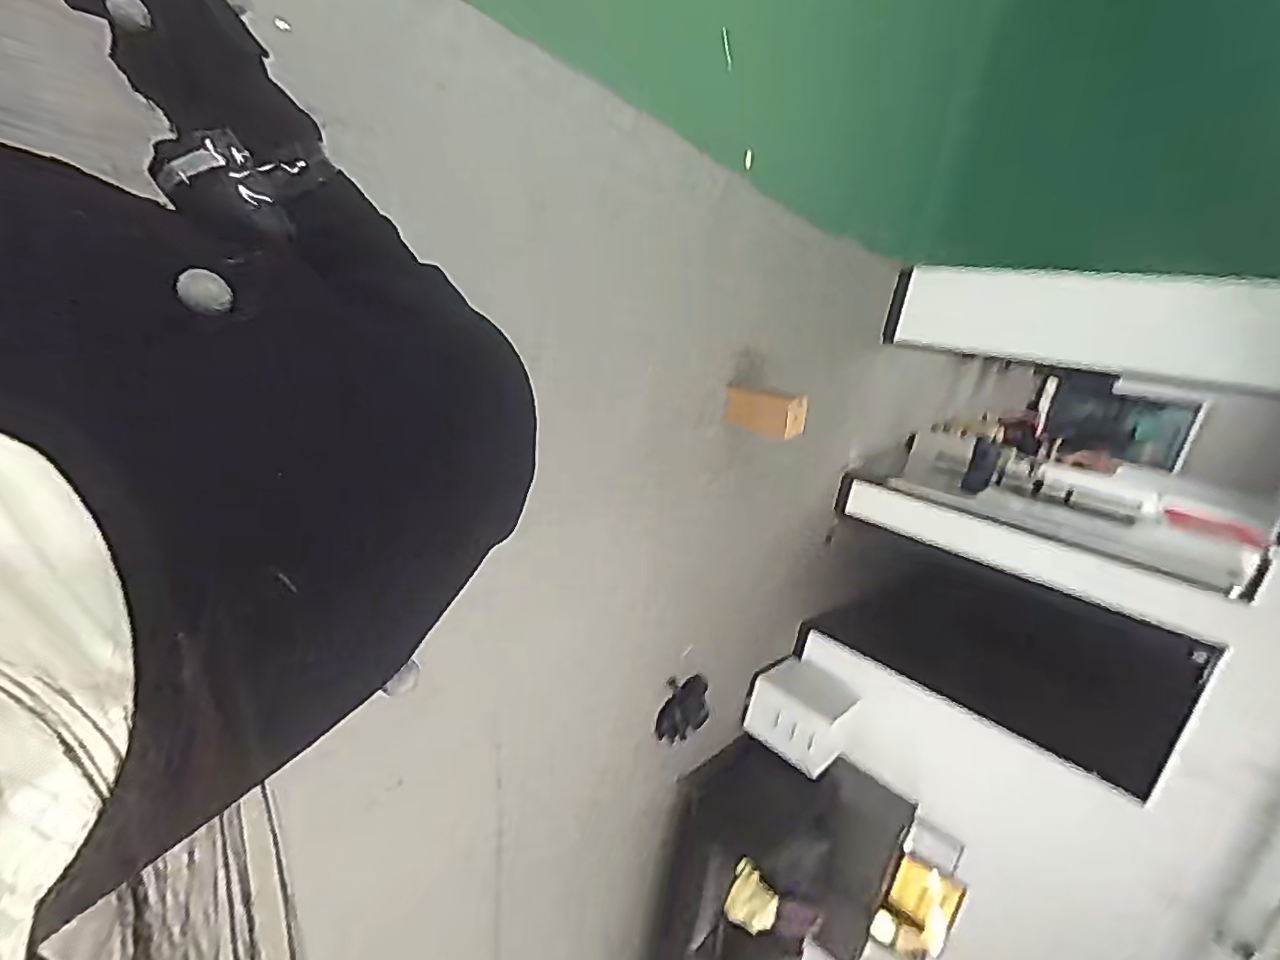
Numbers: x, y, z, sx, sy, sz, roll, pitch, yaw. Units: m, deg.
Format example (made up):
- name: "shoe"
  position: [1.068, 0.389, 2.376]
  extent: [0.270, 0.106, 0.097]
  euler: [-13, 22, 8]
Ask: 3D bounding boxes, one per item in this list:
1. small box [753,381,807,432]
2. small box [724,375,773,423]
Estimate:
- name: "small box"
  position: [0.625, -0.334, 2.435]
  extent: [0.168, 0.176, 0.179]
  euler: [-23, 123, -39]
- name: "small box"
  position: [0.509, -0.383, 2.536]
  extent: [0.168, 0.176, 0.179]
  euler: [-22, 122, -42]
